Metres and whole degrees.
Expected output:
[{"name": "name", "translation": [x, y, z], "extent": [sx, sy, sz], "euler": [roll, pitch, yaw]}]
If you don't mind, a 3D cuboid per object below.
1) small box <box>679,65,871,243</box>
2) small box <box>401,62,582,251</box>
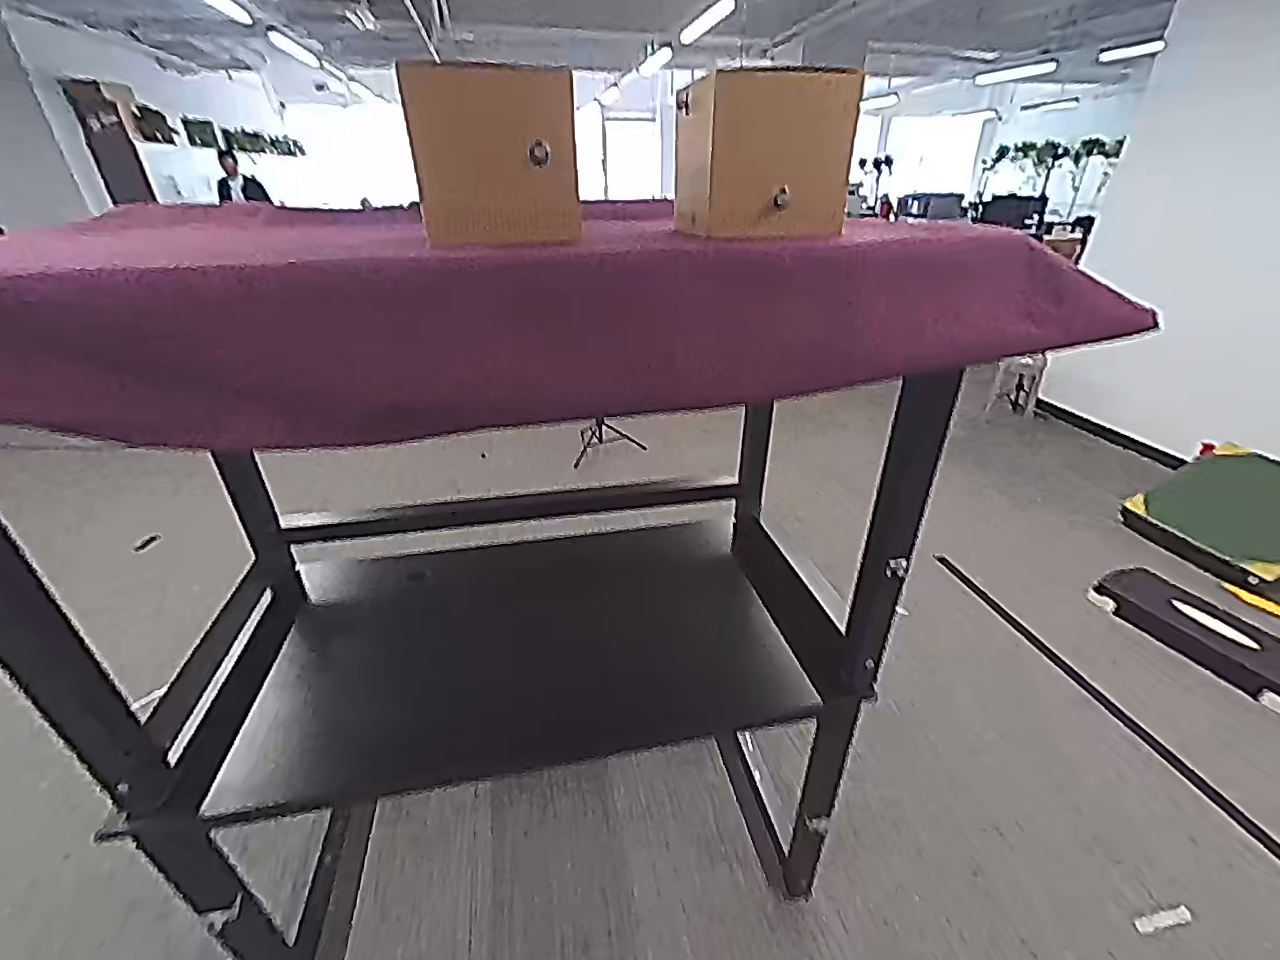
[{"name": "small box", "translation": [0.153, -0.398, 0.679], "extent": [0.179, 0.176, 0.168], "euler": [-5, 28, -10]}, {"name": "small box", "translation": [-0.167, -0.373, 0.641], "extent": [0.179, 0.176, 0.168], "euler": [-9, 29, -14]}]
